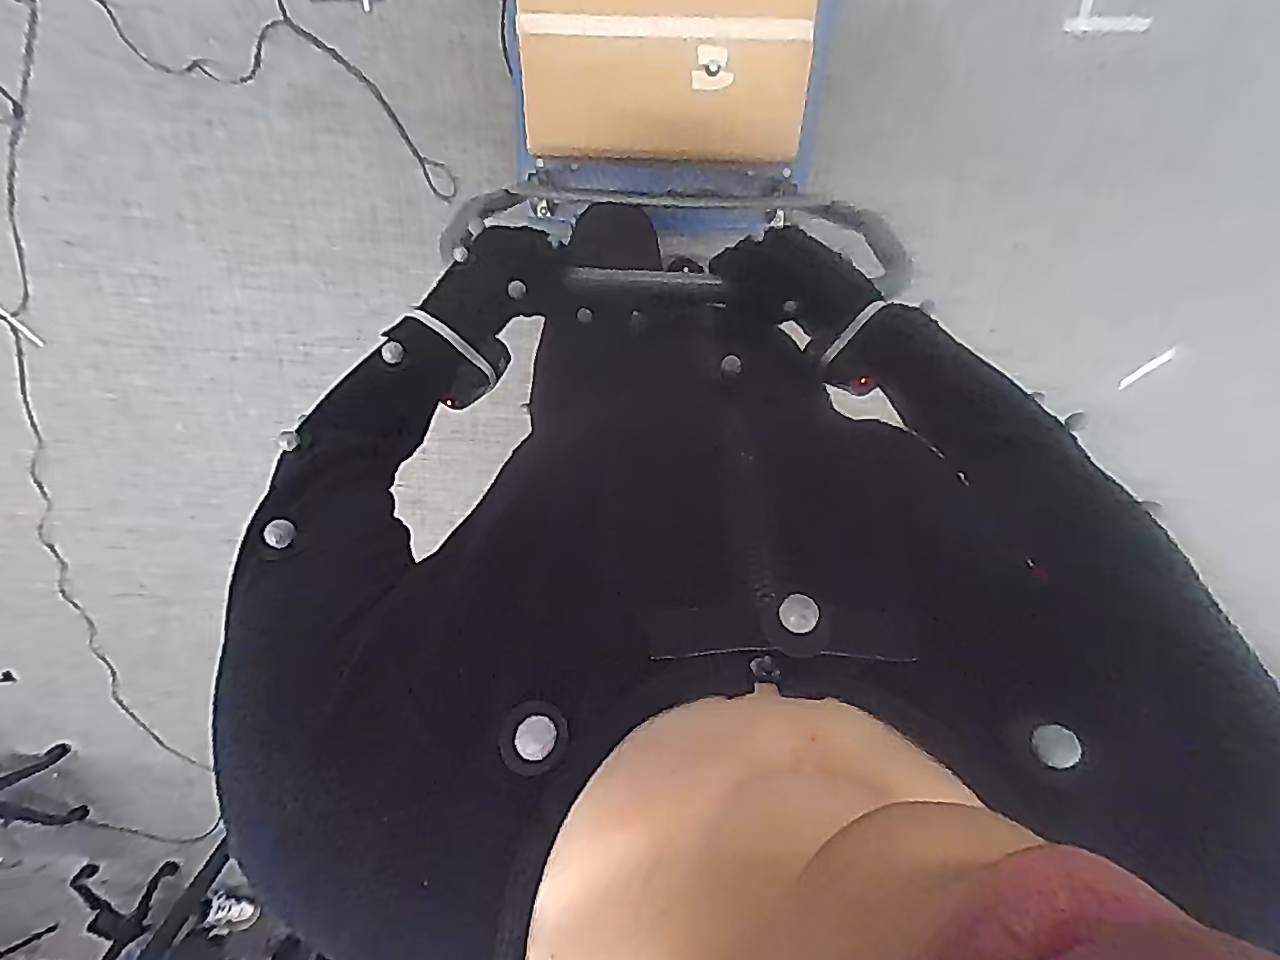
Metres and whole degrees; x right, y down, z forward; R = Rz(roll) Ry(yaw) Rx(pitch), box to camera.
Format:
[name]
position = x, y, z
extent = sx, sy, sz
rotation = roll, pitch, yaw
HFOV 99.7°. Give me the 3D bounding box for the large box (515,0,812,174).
[large box]
position = 0.029, -0.676, 0.869
extent = 0.408, 0.320, 0.320
rotation = 1, 119, -1
